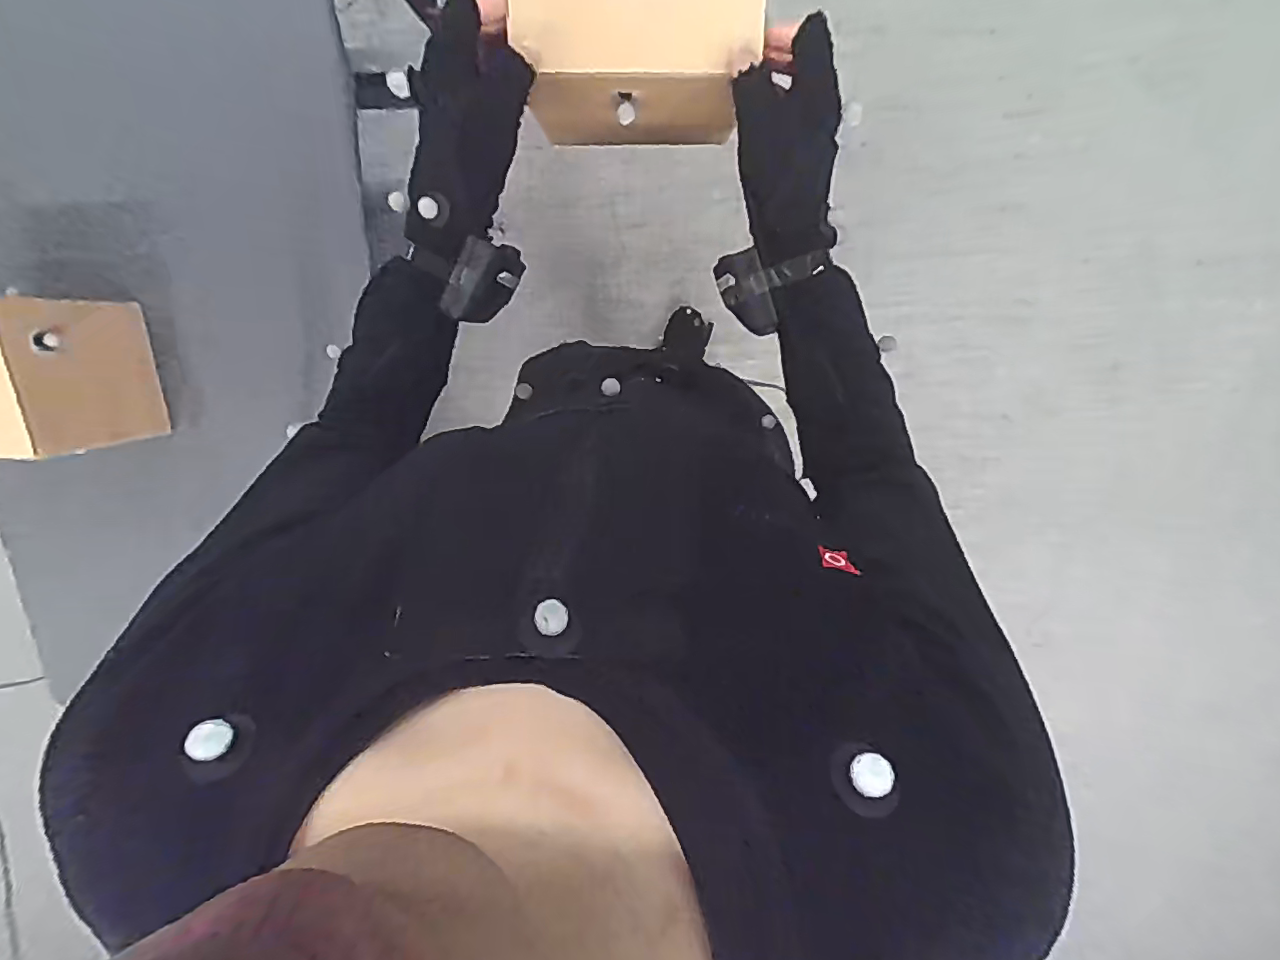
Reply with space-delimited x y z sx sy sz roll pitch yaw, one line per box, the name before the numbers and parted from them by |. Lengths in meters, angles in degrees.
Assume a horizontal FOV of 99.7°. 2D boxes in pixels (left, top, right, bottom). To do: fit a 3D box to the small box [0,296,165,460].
small box | -0.744 -0.127 0.660 0.168 0.176 0.179 0 106 5
